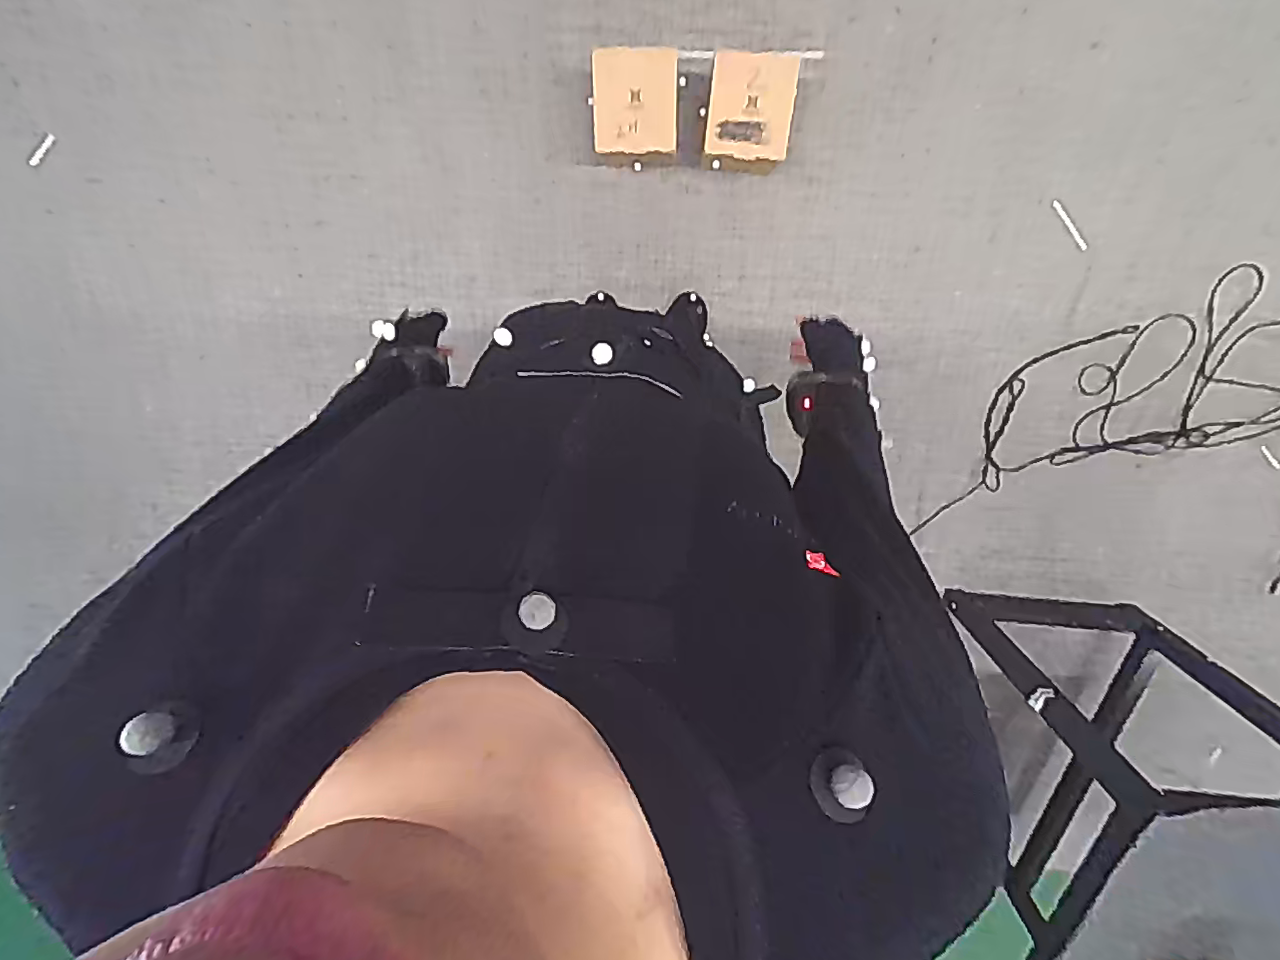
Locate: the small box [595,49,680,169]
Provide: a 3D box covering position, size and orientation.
[{"bbox_3d":[-0.004,-0.767,1.133,0.168,0.176,0.179,1,111,3],"label":"small box"}]
